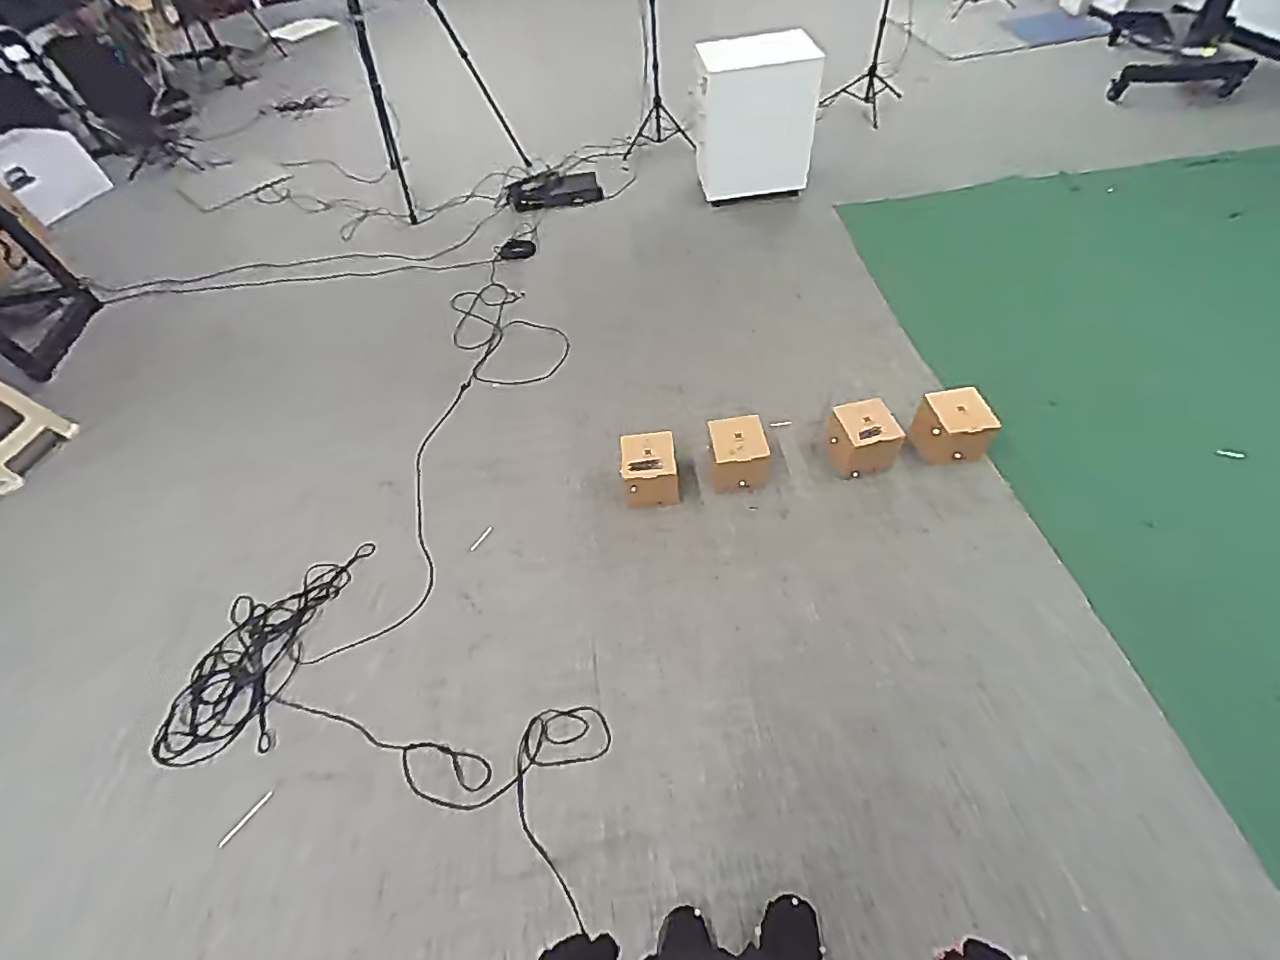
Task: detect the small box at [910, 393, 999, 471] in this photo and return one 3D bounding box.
[{"bbox_3d":[1.006,-0.153,1.749,0.168,0.176,0.179,-9,53,0],"label":"small box"}]

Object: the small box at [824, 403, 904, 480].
[{"bbox_3d":[0.715,-0.118,1.749,0.168,0.176,0.179,-11,52,-3],"label":"small box"}]

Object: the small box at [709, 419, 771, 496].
[{"bbox_3d":[0.316,-0.070,1.750,0.168,0.176,0.179,-8,53,1],"label":"small box"}]
